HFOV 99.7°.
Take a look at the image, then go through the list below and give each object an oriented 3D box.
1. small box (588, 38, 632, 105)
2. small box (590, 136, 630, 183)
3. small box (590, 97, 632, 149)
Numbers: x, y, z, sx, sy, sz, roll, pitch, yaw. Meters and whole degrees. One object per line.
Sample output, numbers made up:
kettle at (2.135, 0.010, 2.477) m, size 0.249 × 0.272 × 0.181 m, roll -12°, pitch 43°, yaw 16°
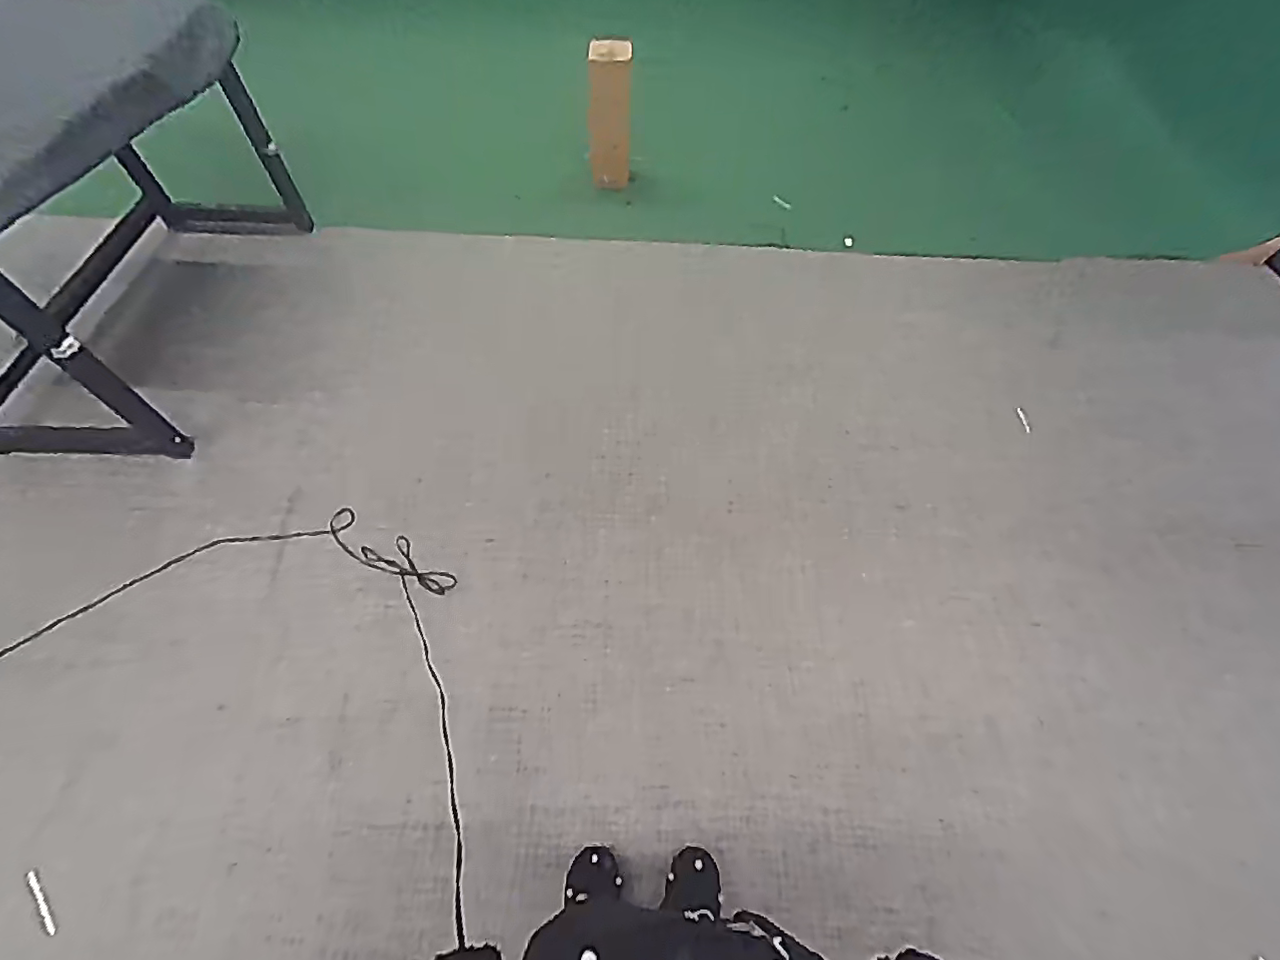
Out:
small box at (-0.115, -1.627, 2.156) m, size 0.168 × 0.176 × 0.179 m, roll 1°, pitch 57°, yaw -1°
small box at (-0.131, -1.461, 2.417) m, size 0.168 × 0.176 × 0.179 m, roll 3°, pitch 58°, yaw 1°
small box at (-0.122, -1.539, 2.295) m, size 0.168 × 0.176 × 0.179 m, roll 3°, pitch 57°, yaw 0°
